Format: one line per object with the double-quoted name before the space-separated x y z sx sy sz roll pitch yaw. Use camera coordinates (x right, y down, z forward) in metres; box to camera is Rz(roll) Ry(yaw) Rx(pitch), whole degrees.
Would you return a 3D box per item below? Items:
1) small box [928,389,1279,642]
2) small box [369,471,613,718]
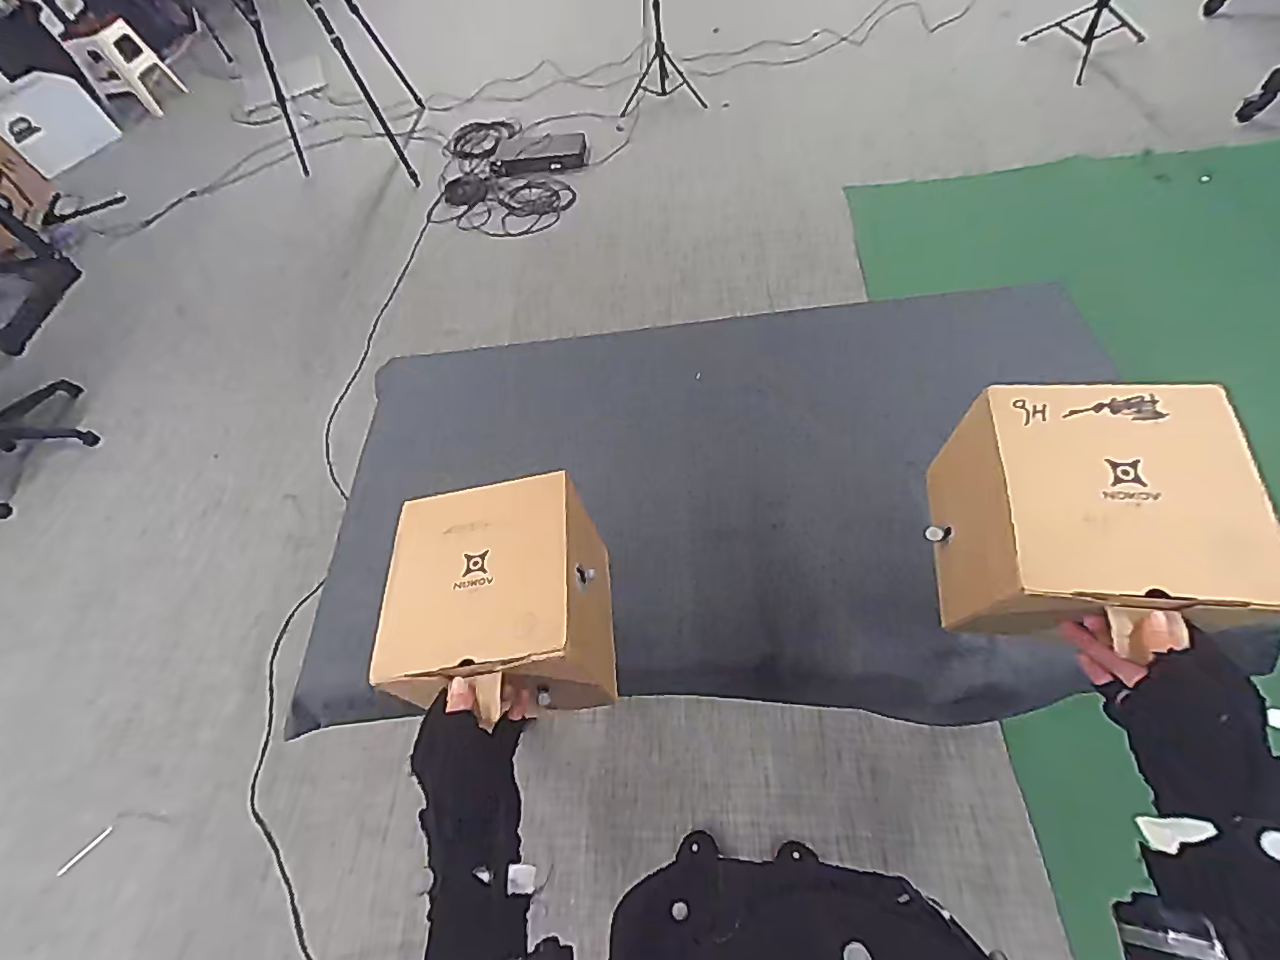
"small box" 0.368 0.039 0.469 0.168 0.176 0.179 2 67 11
"small box" -0.126 0.121 0.527 0.168 0.176 0.179 -11 53 5
